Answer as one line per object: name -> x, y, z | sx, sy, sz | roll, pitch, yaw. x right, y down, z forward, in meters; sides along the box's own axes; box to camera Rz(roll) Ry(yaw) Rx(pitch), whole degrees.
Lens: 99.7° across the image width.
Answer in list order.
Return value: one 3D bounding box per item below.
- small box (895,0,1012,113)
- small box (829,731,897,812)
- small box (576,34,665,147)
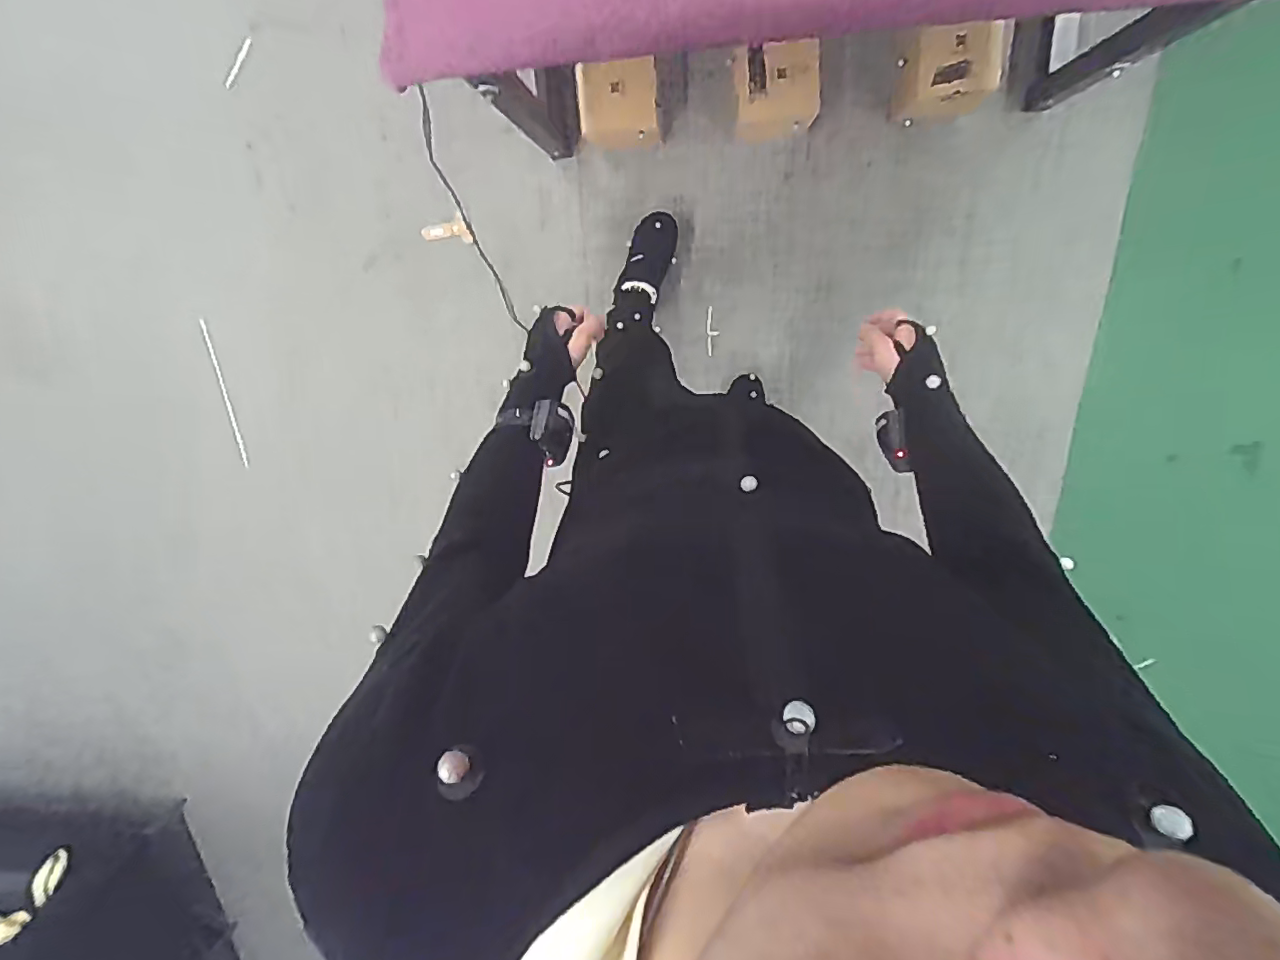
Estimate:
small box -> 0.663, -0.916, 1.163 | 0.168, 0.176, 0.179 | -4, 108, 8
small box -> 0.743, 0.973, 1.817 | 0.168, 0.176, 0.179 | 2, 109, 6
small box -> -0.038, -0.894, 1.259 | 0.179, 0.176, 0.168 | -2, 109, 7
